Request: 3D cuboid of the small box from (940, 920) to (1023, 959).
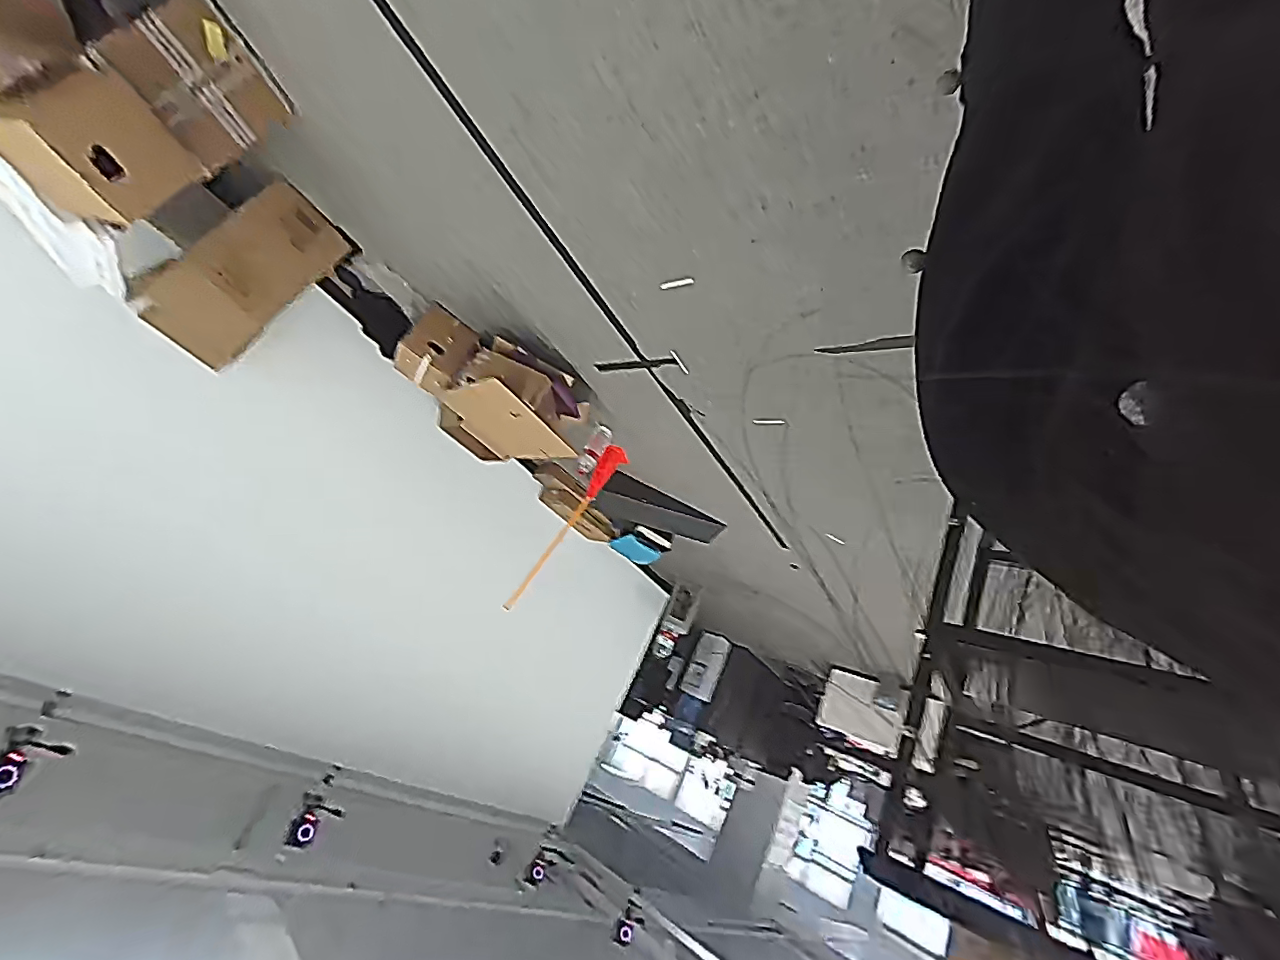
[{"bbox_3d":[0.891,1.292,1.413,0.168,0.176,0.179,5,150,41],"label":"small box"}]
